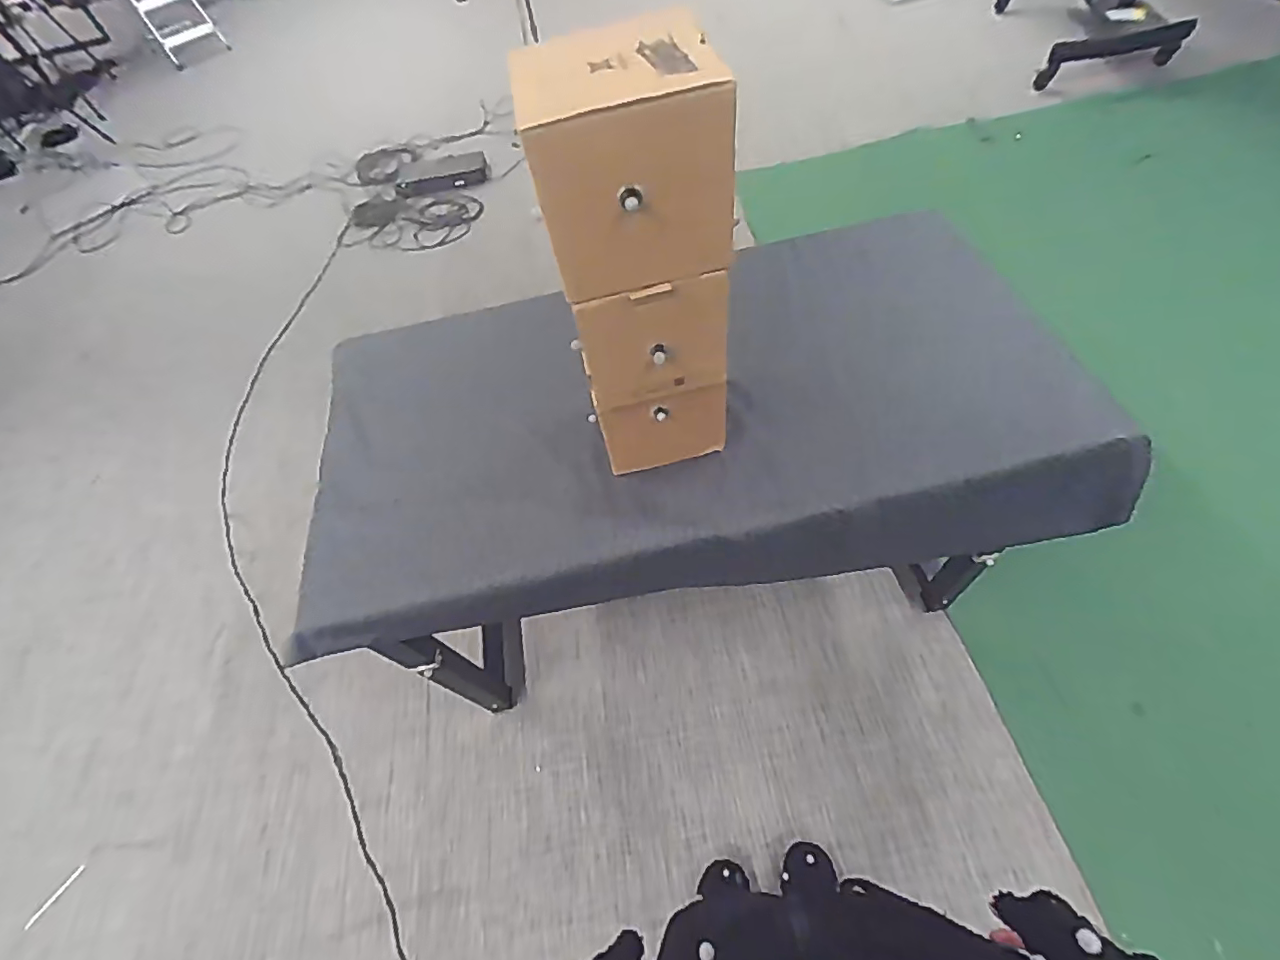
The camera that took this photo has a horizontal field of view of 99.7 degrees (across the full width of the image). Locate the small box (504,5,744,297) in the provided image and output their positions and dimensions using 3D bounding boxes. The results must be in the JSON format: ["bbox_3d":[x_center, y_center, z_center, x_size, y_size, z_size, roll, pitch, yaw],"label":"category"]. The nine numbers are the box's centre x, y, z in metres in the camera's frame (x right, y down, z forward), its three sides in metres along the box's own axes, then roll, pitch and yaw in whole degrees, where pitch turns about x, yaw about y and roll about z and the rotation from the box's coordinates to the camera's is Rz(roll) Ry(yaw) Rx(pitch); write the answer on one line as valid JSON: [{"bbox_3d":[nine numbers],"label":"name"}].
[{"bbox_3d":[-0.015,-0.307,0.518,0.179,0.176,0.168,-15,57,-3],"label":"small box"}]

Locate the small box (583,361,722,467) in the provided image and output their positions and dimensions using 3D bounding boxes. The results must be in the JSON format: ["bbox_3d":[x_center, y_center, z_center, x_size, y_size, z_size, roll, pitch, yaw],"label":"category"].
[{"bbox_3d":[0.016,-0.139,0.799,0.179,0.176,0.168,-13,58,-2],"label":"small box"}]

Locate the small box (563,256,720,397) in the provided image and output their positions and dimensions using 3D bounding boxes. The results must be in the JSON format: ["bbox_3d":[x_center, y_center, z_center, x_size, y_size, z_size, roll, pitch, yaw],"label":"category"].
[{"bbox_3d":[-0.002,-0.221,0.659,0.168,0.176,0.179,-14,58,-1],"label":"small box"}]
